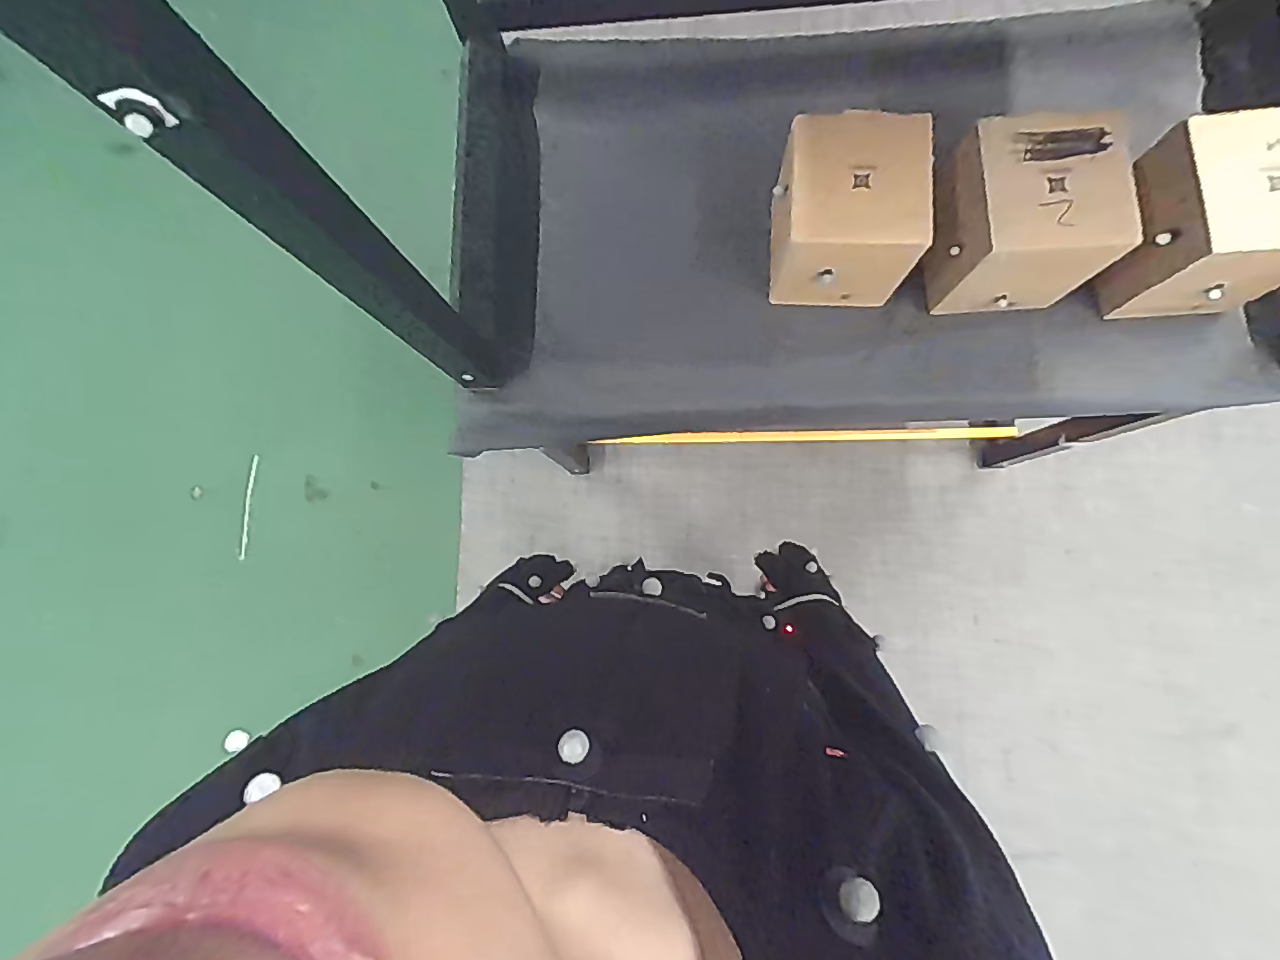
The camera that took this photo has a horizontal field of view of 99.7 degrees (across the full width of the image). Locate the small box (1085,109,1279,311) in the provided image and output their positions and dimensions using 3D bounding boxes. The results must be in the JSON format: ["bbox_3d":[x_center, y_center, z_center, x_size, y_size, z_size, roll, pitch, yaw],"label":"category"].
[{"bbox_3d":[0.721,-0.330,0.691,0.168,0.176,0.179,-2,81,4],"label":"small box"}]

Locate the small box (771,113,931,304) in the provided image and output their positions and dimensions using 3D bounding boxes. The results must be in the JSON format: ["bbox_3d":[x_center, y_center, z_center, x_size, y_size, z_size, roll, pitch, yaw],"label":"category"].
[{"bbox_3d":[0.276,-0.356,0.736,0.168,0.176,0.179,3,82,5],"label":"small box"}]
